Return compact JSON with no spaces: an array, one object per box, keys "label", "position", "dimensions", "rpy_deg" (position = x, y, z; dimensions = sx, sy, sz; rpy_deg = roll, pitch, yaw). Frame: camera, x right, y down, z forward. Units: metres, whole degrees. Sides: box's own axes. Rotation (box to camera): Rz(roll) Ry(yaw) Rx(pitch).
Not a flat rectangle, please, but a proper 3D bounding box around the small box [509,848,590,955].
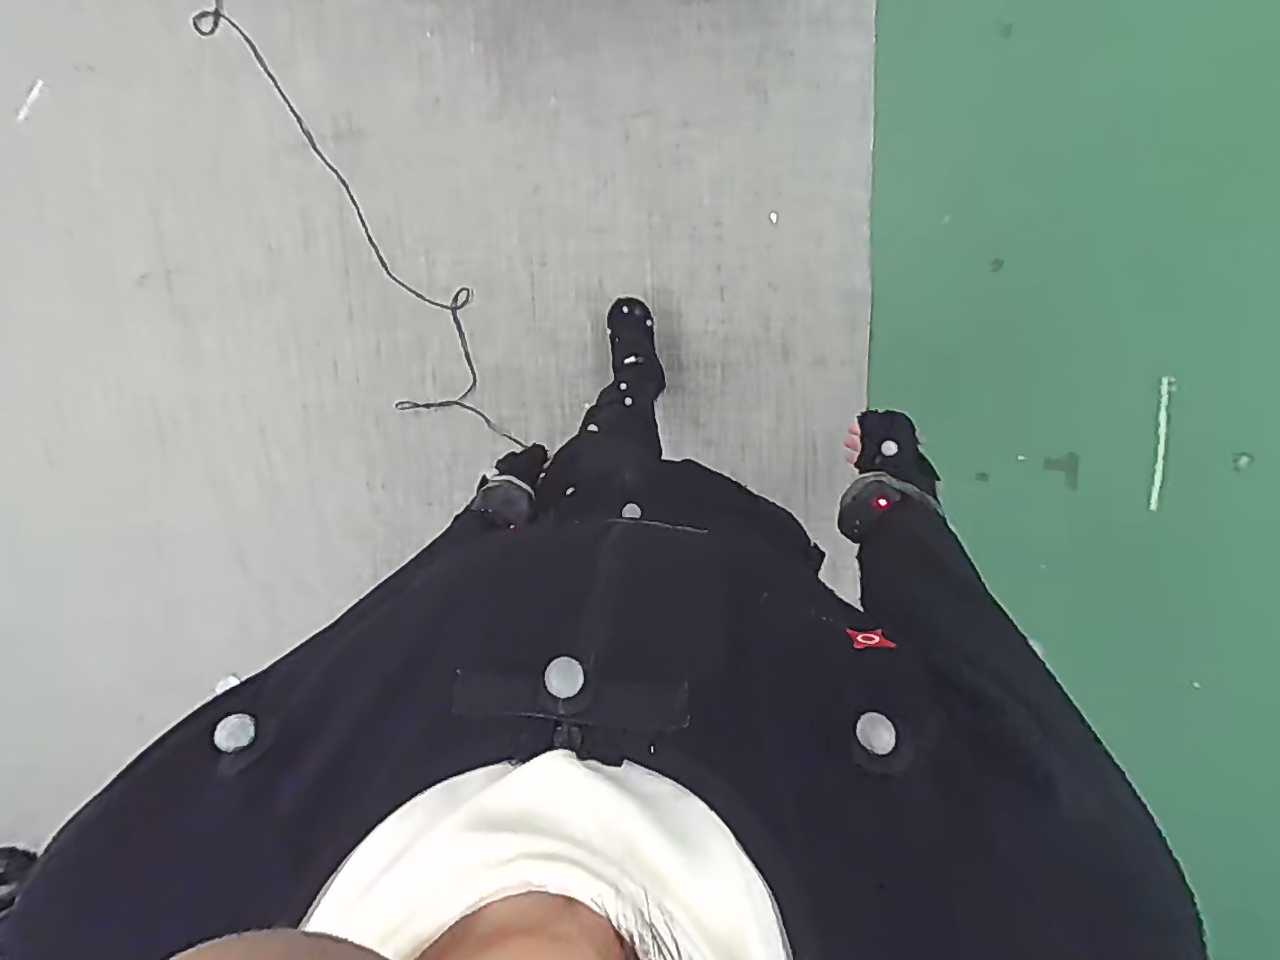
[{"label":"small box","position":[-0.240,1.140,1.473],"dimensions":[0.179,0.176,0.168],"rpy_deg":[-4,98,5]}]
